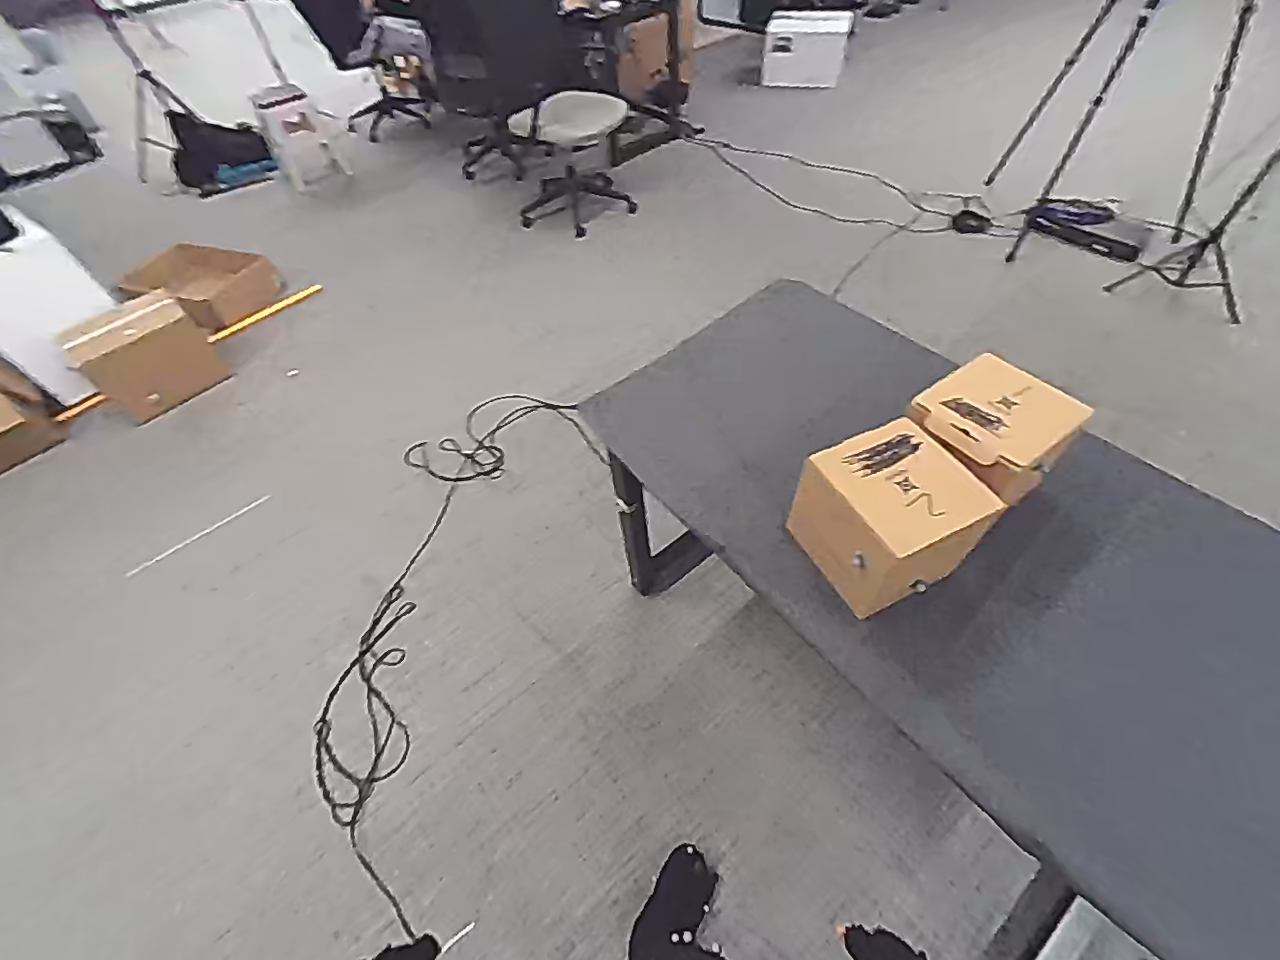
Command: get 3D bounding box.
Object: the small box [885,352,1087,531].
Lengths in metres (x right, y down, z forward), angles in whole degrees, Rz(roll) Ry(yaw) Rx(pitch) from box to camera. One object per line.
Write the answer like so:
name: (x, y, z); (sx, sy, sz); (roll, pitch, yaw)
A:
small box: (0.499, -0.054, 0.812); (0.179, 0.176, 0.168); (-30, 56, -19)
